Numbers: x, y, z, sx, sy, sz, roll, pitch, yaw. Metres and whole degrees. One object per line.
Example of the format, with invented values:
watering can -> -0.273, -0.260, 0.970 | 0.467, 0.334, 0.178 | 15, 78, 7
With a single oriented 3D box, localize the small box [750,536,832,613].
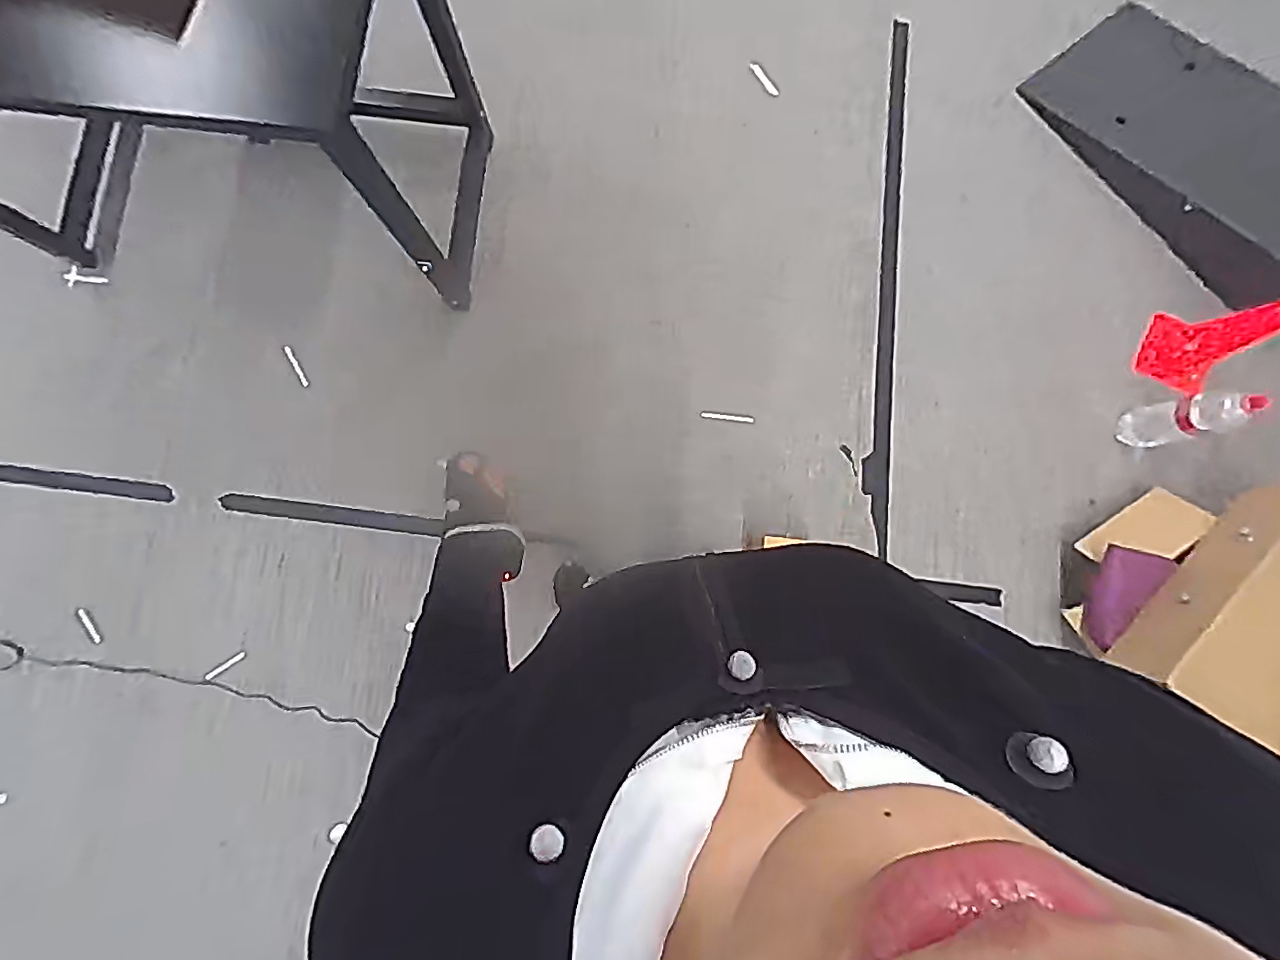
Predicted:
small box -> 0.390, 0.244, 1.421 | 0.168, 0.176, 0.179 | 6, 82, 1
